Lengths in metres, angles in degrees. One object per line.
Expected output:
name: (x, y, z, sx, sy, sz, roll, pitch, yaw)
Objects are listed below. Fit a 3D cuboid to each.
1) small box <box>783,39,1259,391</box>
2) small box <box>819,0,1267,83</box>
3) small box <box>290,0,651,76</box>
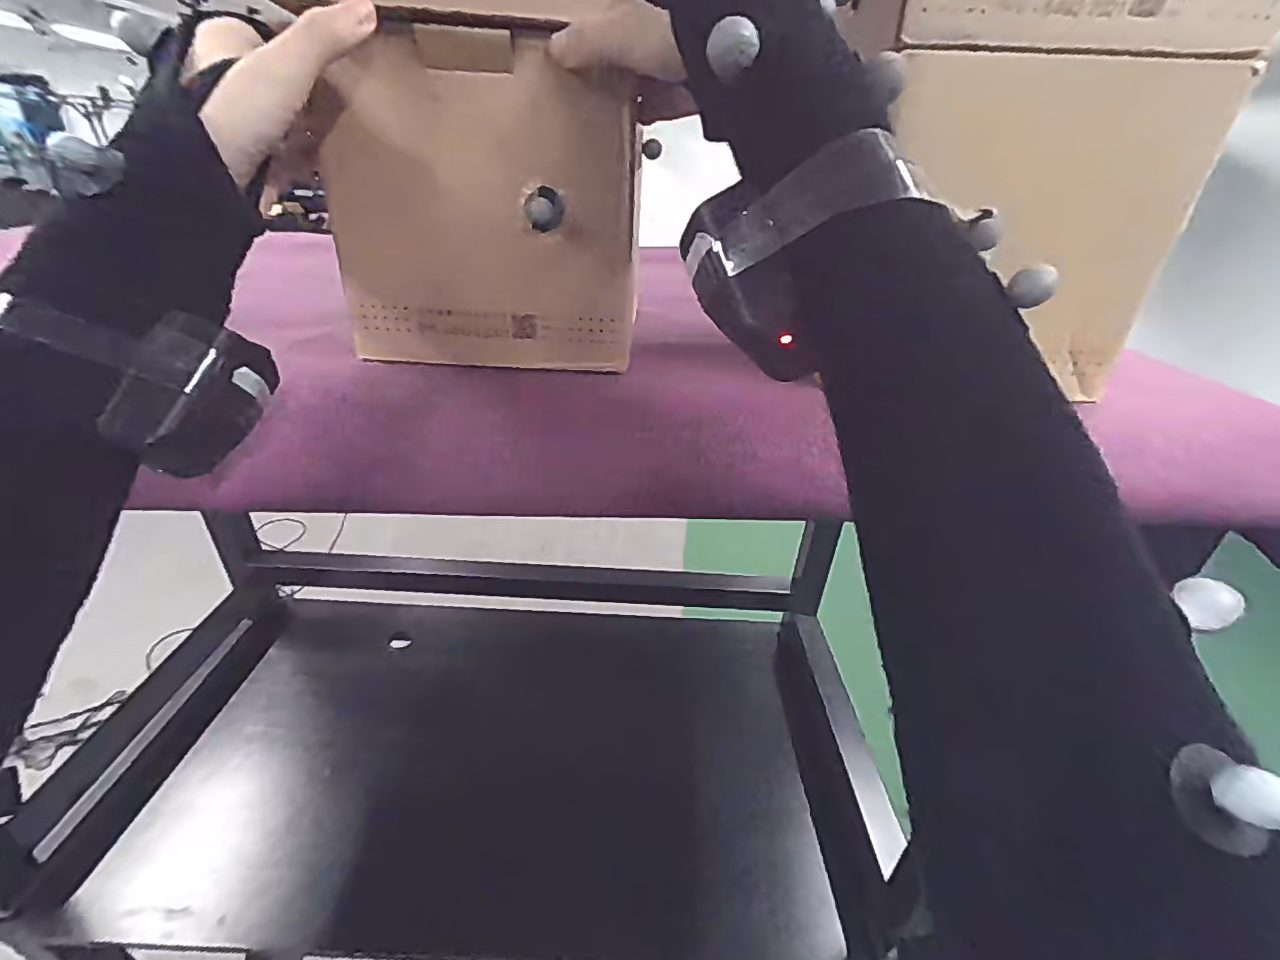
small box: (0.200, -0.165, 0.356, 0.168, 0.176, 0.179, 3, 29, 2)
small box: (0.204, -0.308, 0.275, 0.168, 0.176, 0.179, 4, 30, 2)
small box: (-0.076, -0.324, 0.275, 0.179, 0.176, 0.168, 1, 28, -4)
